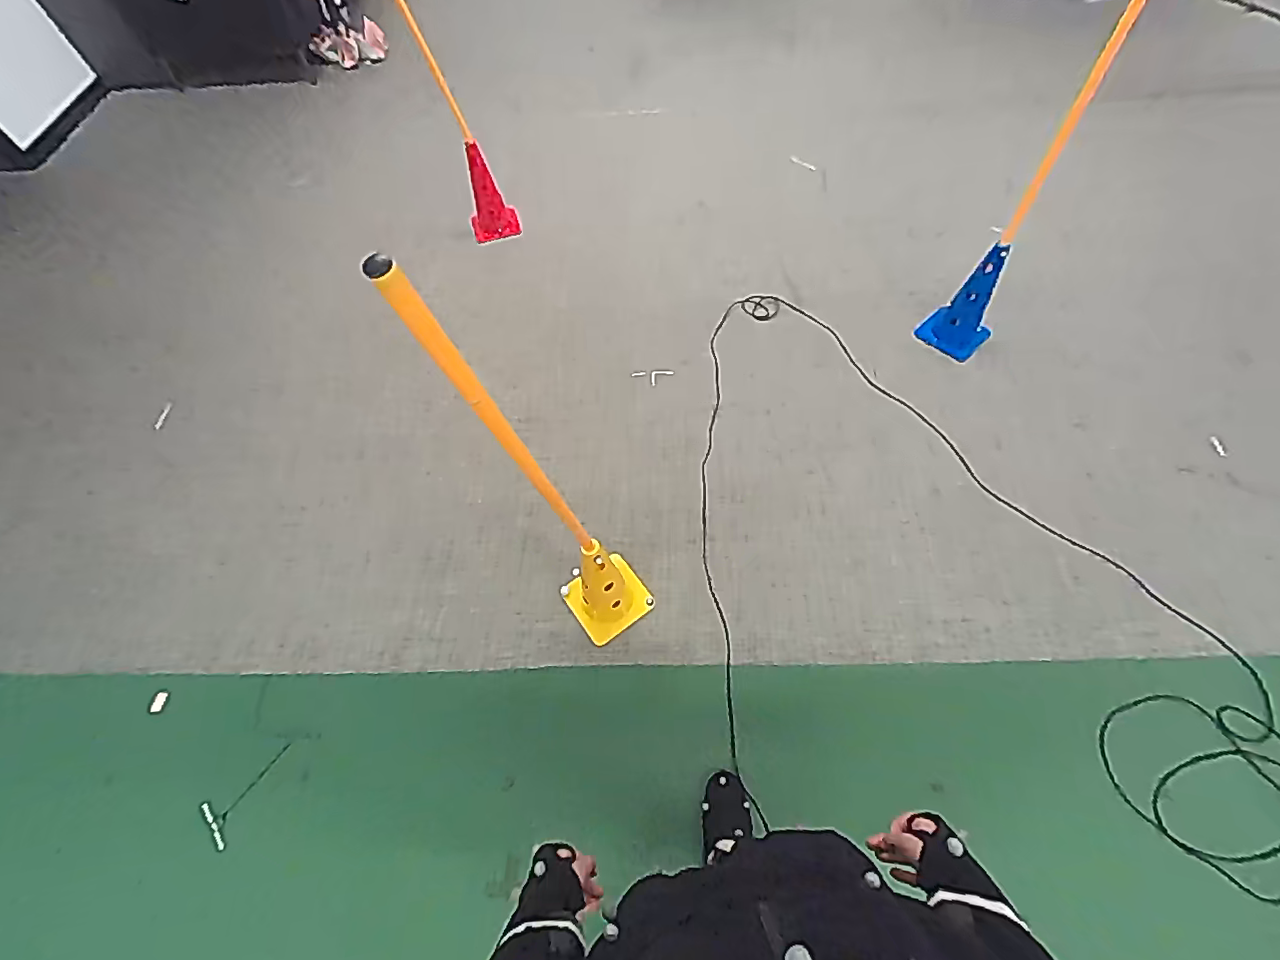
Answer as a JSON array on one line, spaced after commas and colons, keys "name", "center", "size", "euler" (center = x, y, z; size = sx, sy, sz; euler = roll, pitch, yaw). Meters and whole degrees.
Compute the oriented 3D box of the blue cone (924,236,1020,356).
[{"name": "blue cone", "center": [1.097, -0.609, 1.741], "size": [0.193, 0.380, 0.192], "euler": [-41, 64, -20]}]
